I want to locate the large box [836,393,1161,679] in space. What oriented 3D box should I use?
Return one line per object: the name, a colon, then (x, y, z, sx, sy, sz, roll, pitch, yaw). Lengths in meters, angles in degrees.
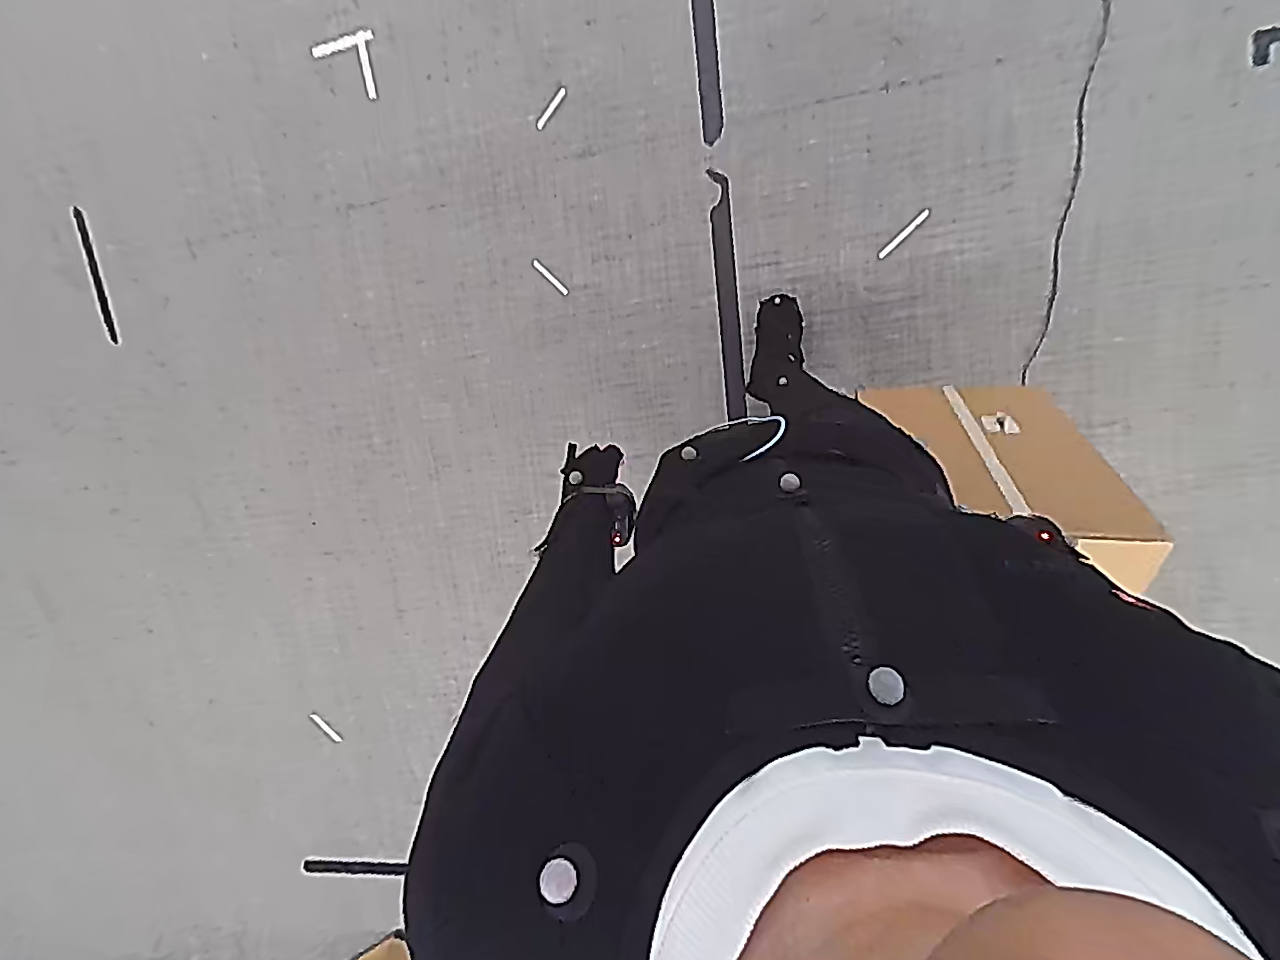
large box: (0.539, 0.079, 0.933, 0.320, 0.408, 0.320, 2, 125, 10)
